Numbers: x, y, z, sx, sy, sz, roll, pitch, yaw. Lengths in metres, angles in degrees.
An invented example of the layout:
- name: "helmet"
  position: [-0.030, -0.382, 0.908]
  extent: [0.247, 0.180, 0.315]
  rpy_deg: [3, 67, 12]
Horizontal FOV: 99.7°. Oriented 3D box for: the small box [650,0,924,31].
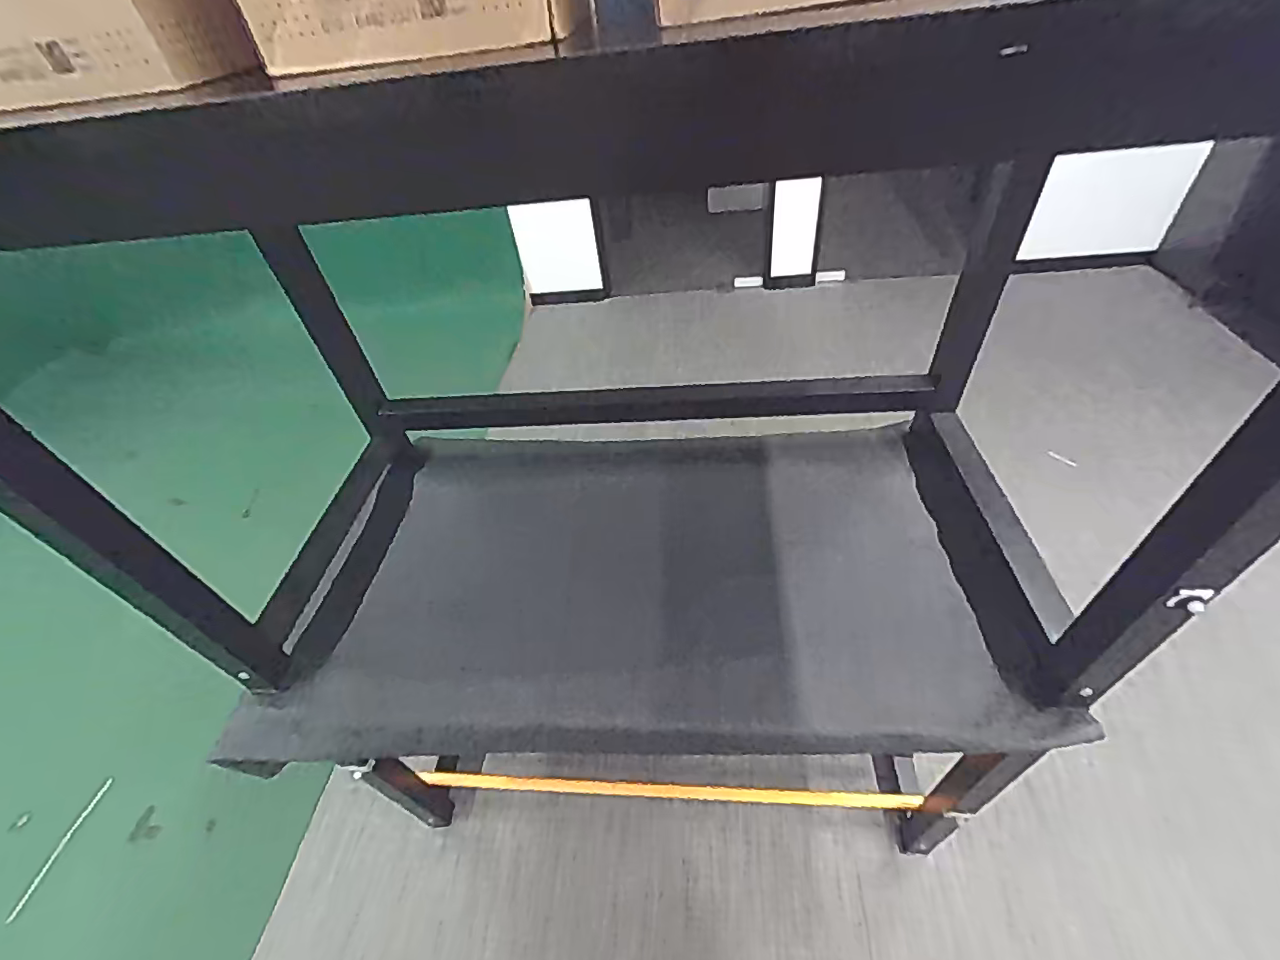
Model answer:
- name: "small box"
  position: [0.083, -0.356, 0.284]
  extent: [0.168, 0.176, 0.179]
  rpy_deg: [-4, 43, 4]
